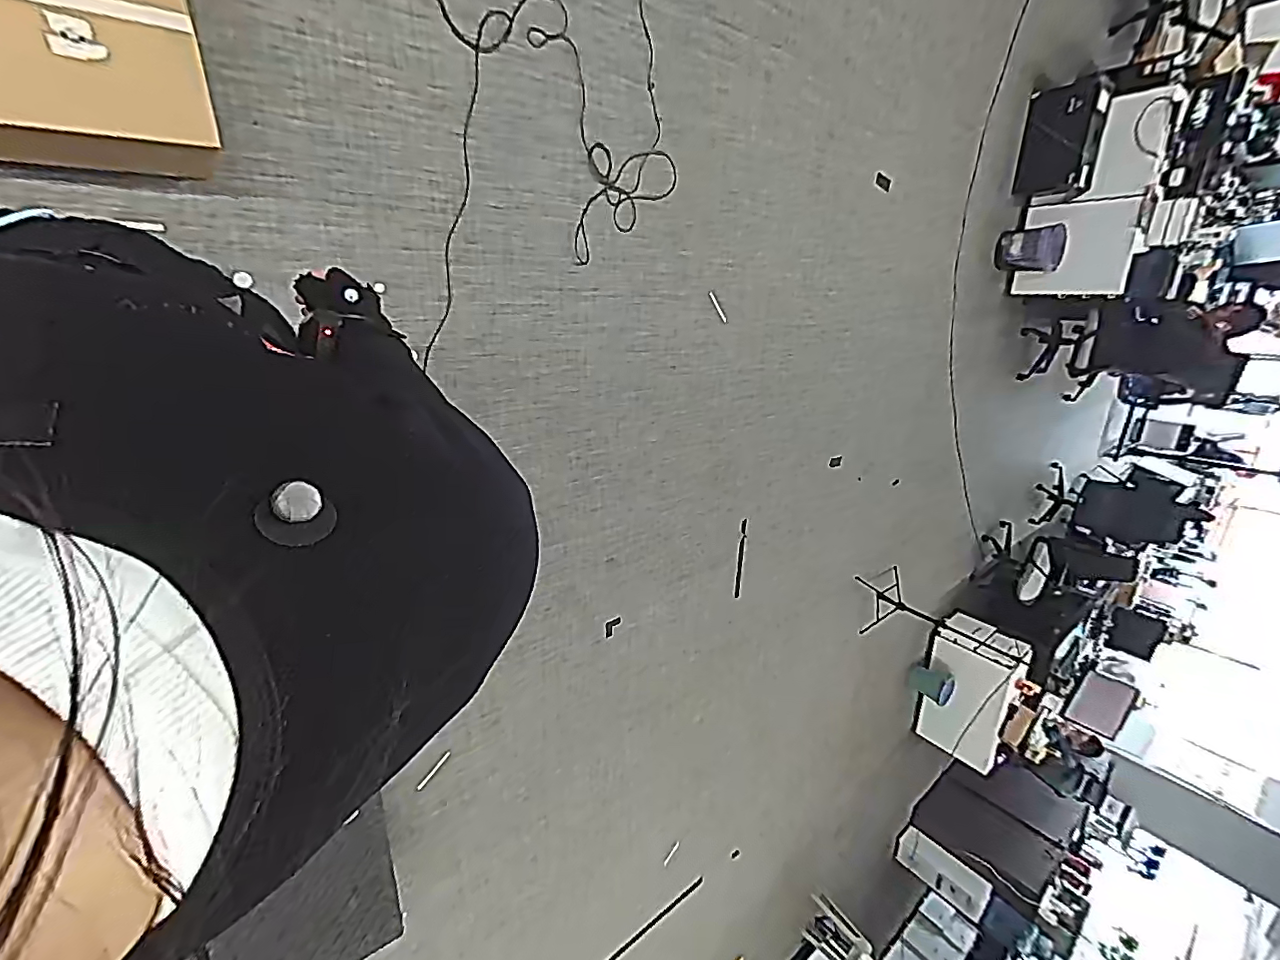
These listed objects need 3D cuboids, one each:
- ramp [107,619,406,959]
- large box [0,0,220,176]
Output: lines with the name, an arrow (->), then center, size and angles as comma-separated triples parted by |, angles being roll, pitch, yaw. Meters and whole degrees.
ramp -> -0.931, 0.896, 1.390 | 0.509, 0.206, 0.991 | -13, 112, -35
large box -> -0.911, -0.658, 0.792 | 0.408, 0.320, 0.320 | -16, 115, -36
